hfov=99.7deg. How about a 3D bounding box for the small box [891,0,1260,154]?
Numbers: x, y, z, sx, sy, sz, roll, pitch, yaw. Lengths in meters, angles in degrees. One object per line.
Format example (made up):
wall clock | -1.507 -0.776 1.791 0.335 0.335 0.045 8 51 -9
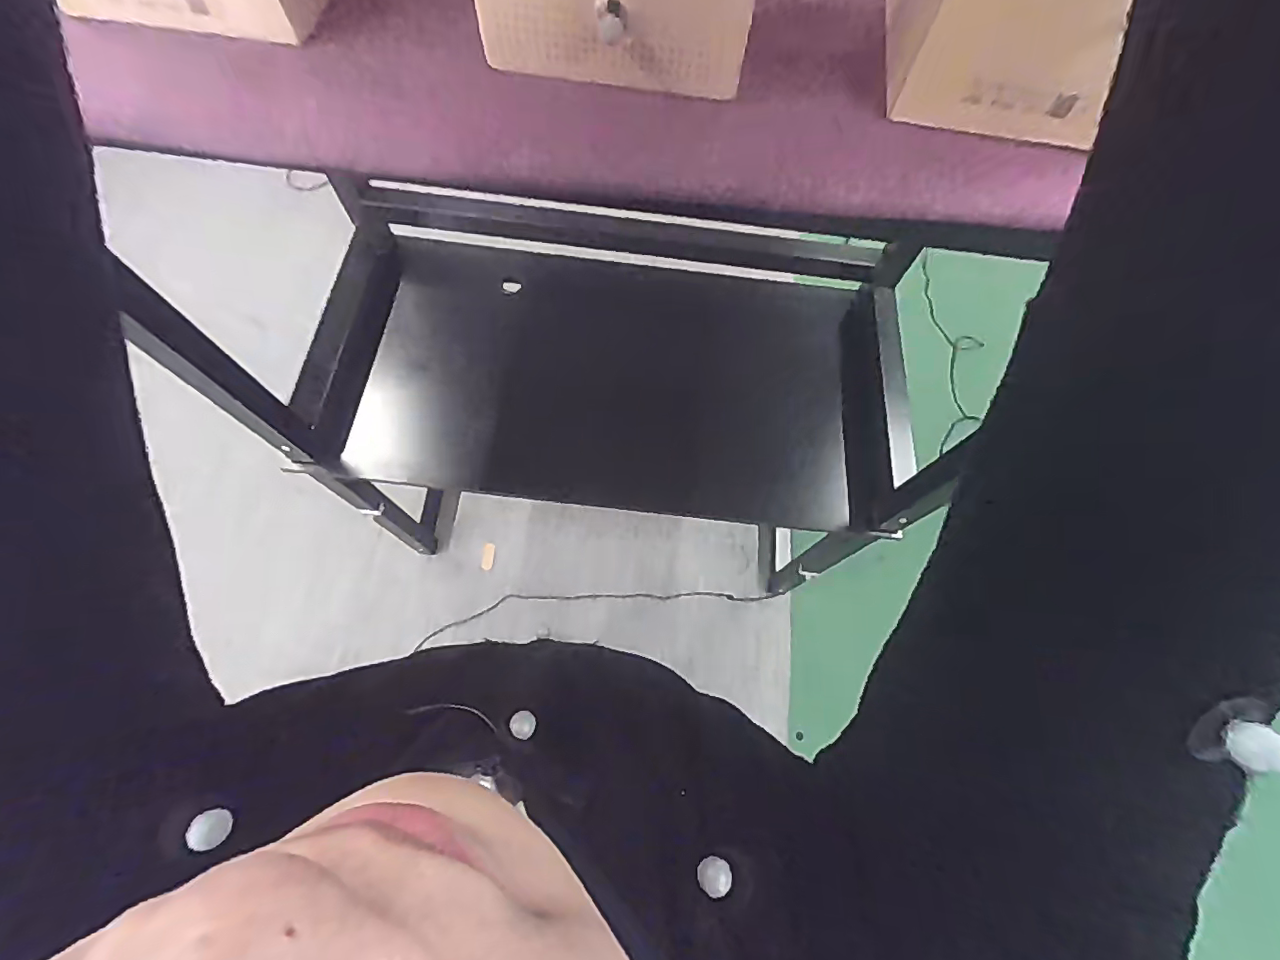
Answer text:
small box | 0.274 -0.340 0.333 0.168 0.176 0.179 11 67 1
